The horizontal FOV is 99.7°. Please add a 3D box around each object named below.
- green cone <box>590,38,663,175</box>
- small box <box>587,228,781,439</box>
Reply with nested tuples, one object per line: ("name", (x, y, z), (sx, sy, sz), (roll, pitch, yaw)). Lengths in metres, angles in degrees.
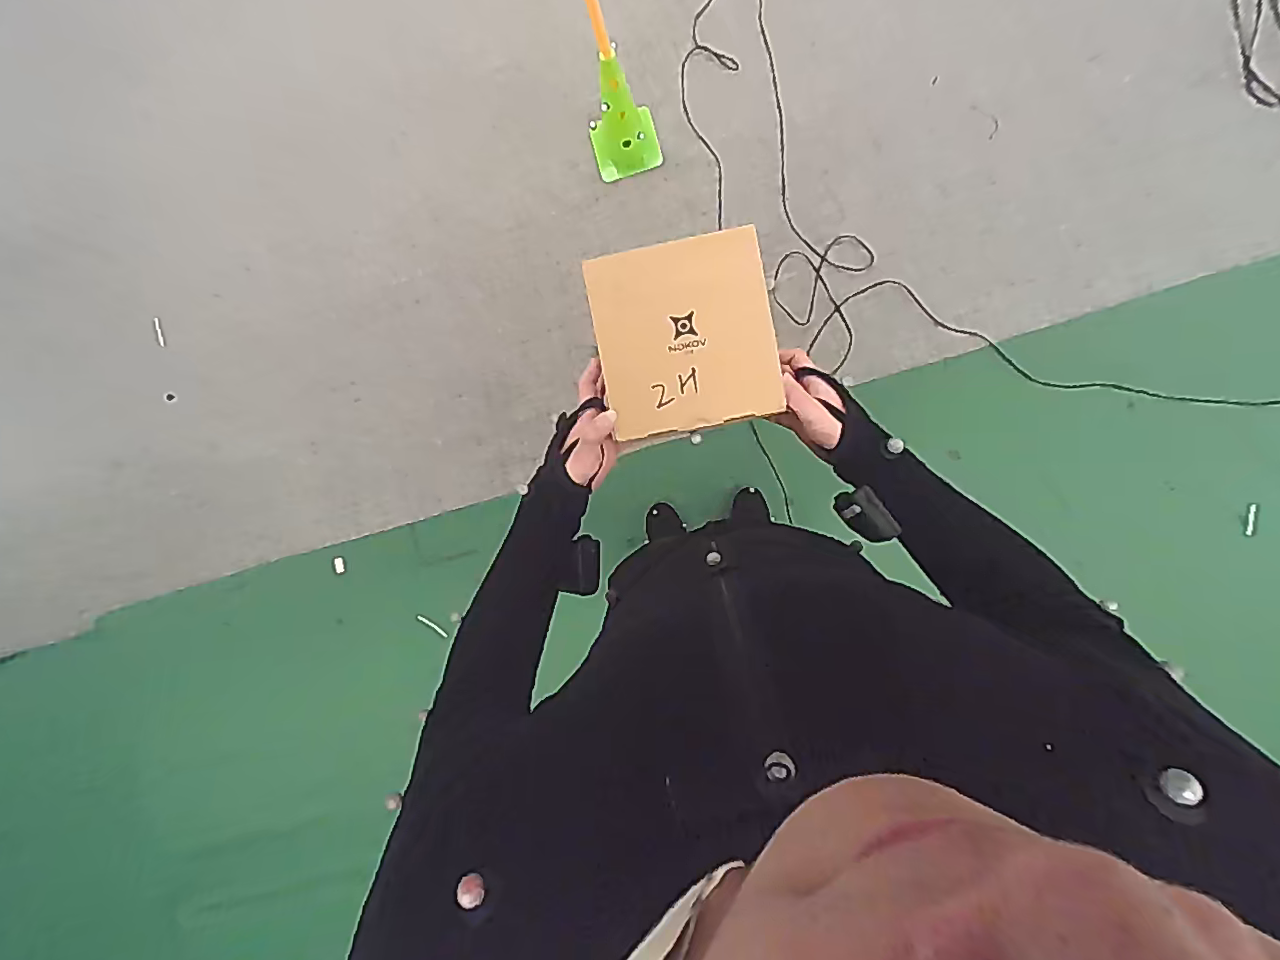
("green cone", (-0.058, -1.073, 1.522), (0.202, 0.368, 0.200), (-15, 88, 4))
("small box", (0.045, -0.144, 0.594), (0.168, 0.176, 0.179), (-10, 94, 4))
